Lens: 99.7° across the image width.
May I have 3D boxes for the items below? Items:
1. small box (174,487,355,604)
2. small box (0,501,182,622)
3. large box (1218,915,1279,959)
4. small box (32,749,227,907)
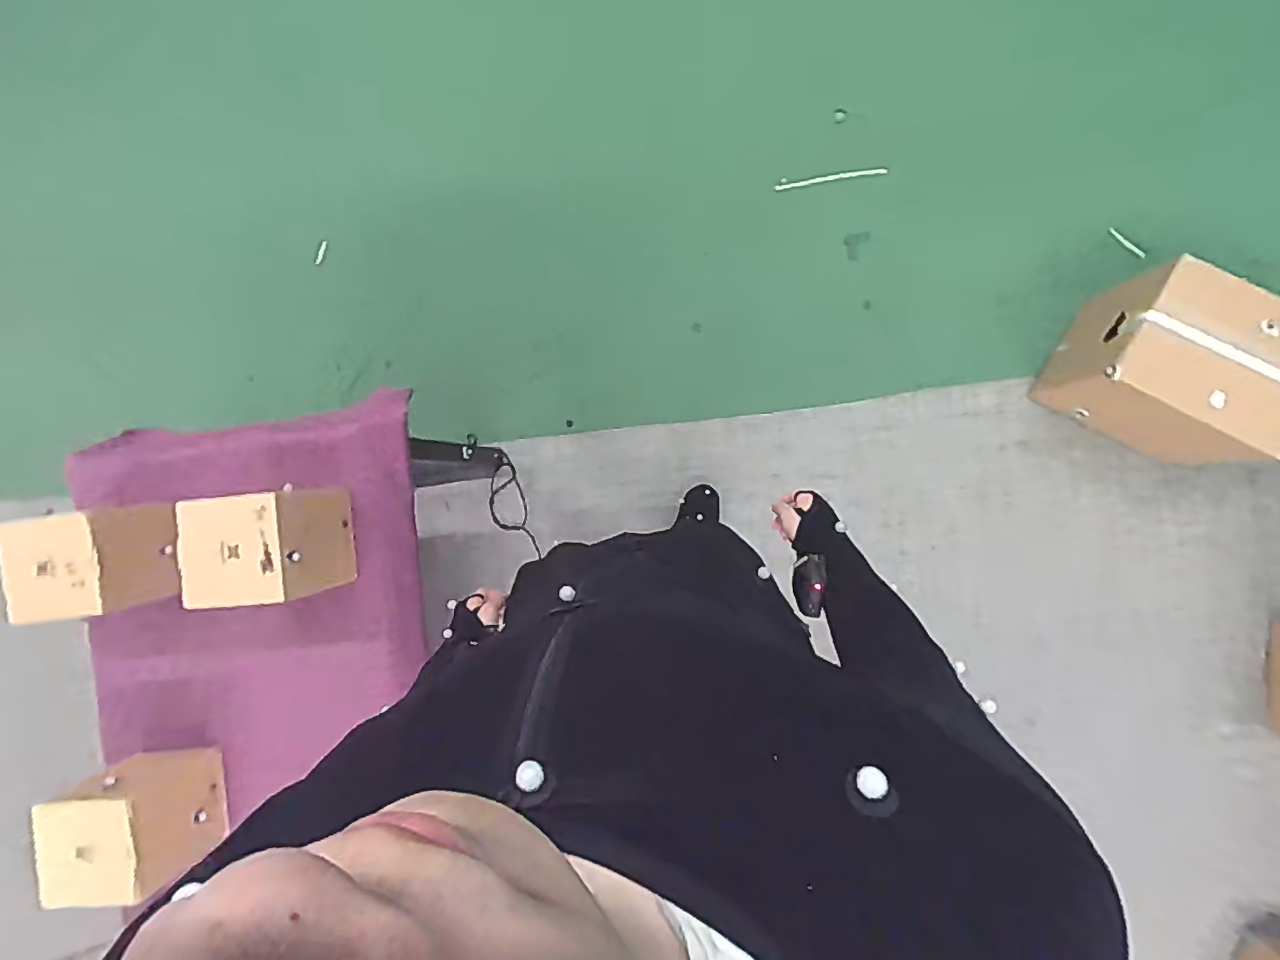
[{"bbox_3d":[-0.606,0.101,0.888,0.179,0.176,0.168,-5,91,9],"label":"small box"},{"bbox_3d":[-0.922,0.132,0.923,0.179,0.176,0.168,-8,93,6],"label":"small box"},{"bbox_3d":[1.687,1.413,1.314,0.320,0.320,0.408,17,91,5],"label":"large box"},{"bbox_3d":[-0.861,0.583,0.925,0.179,0.176,0.168,-7,89,5],"label":"small box"}]
